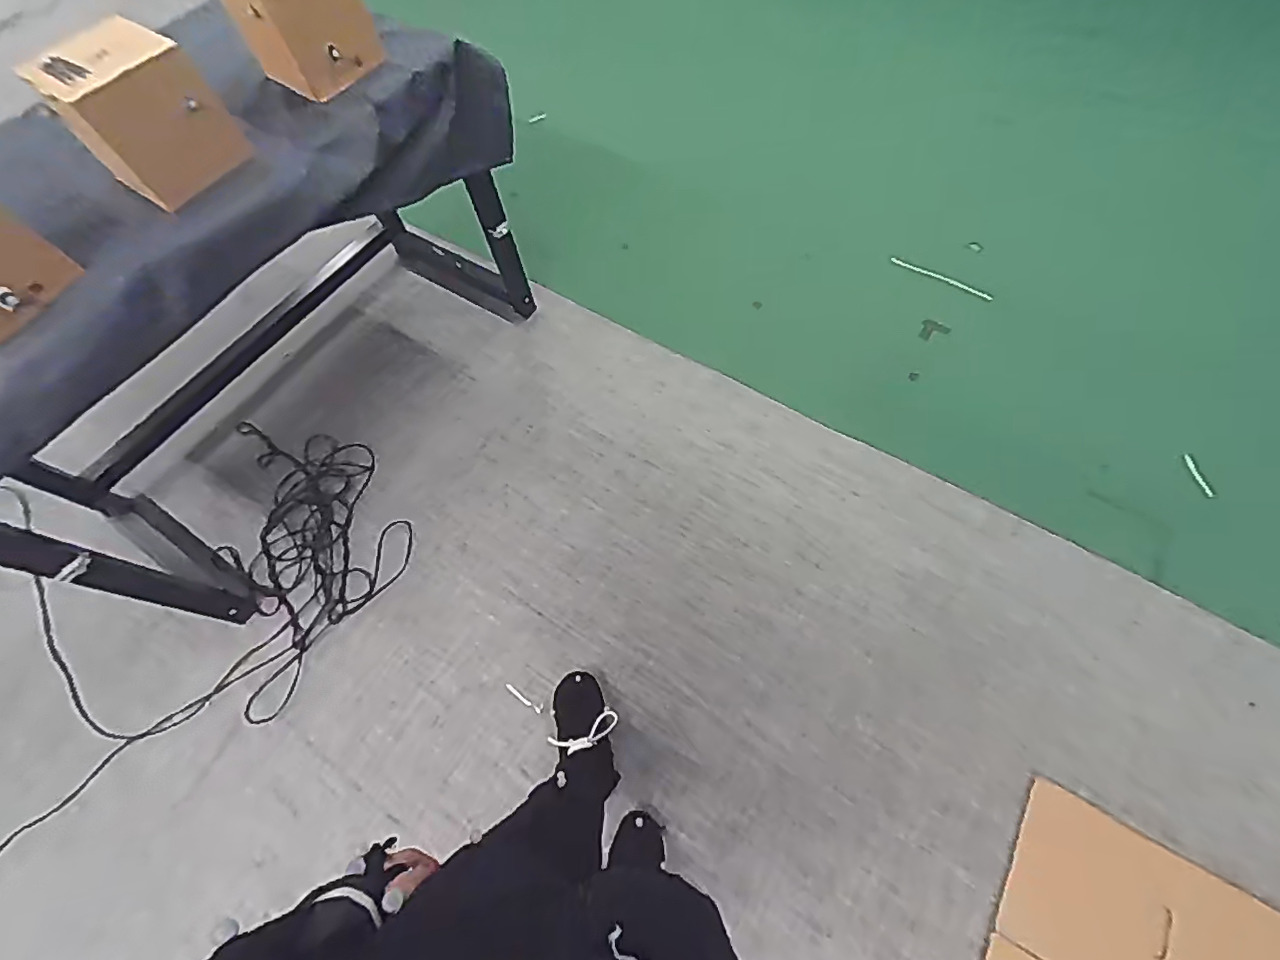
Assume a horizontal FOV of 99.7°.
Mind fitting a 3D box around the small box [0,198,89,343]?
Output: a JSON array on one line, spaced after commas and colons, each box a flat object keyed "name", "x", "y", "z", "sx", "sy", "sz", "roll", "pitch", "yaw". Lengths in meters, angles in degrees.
[{"name": "small box", "x": -0.954, "y": -0.318, "z": 0.748, "sx": 0.179, "sy": 0.176, "sz": 0.168, "roll": 23, "pitch": 69, "yaw": 13}]

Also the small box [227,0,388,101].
[{"name": "small box", "x": -0.596, "y": -0.818, "z": 0.961, "sx": 0.179, "sy": 0.176, "sz": 0.168, "roll": 34, "pitch": 72, "yaw": 18}]
